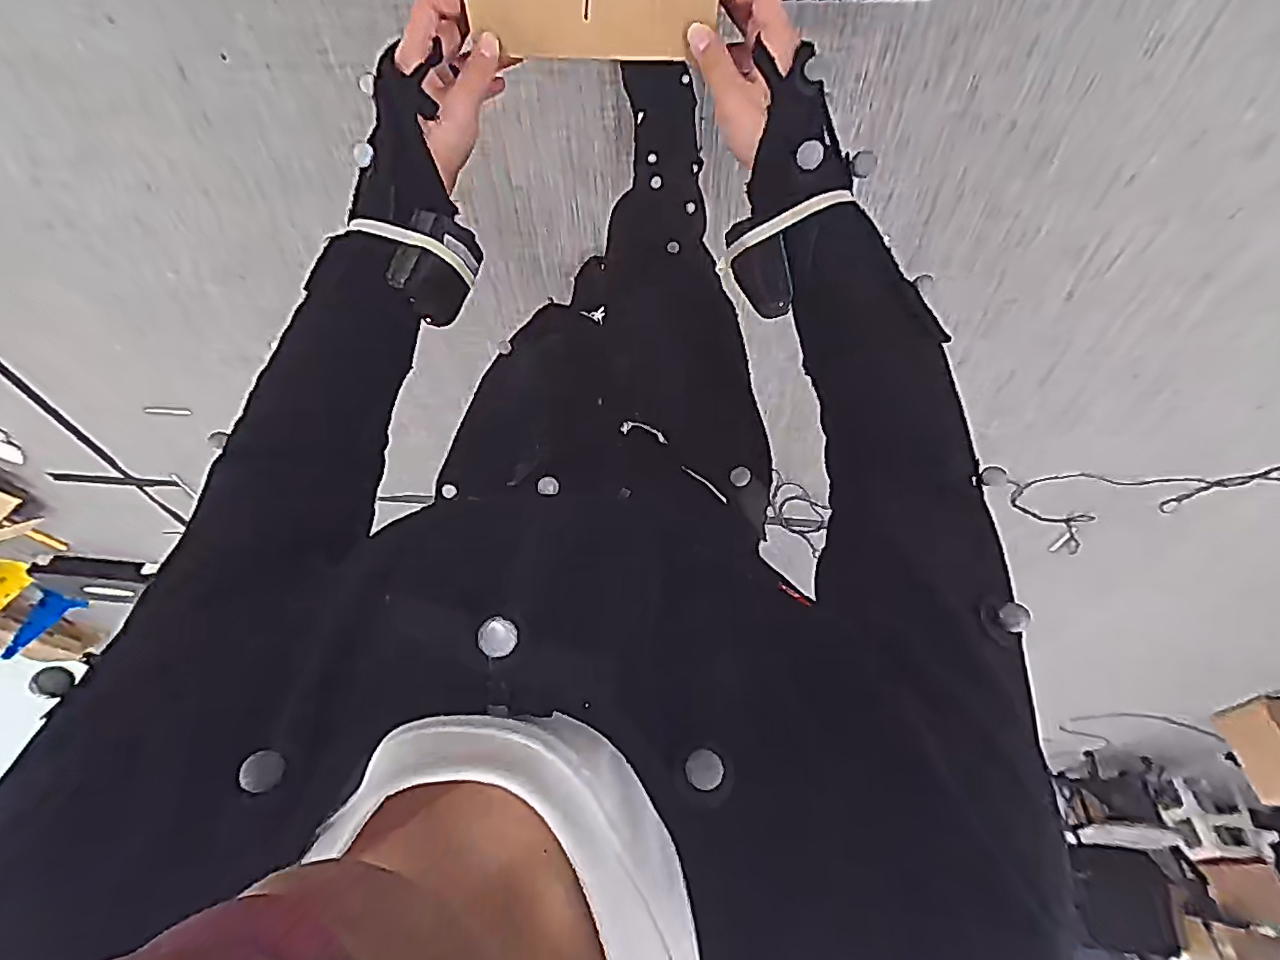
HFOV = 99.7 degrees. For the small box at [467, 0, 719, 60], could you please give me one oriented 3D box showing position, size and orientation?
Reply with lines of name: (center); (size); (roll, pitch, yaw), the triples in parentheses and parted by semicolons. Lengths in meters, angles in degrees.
small box: (-0.023, -0.406, 0.357); (0.168, 0.176, 0.179); (5, 139, 4)
